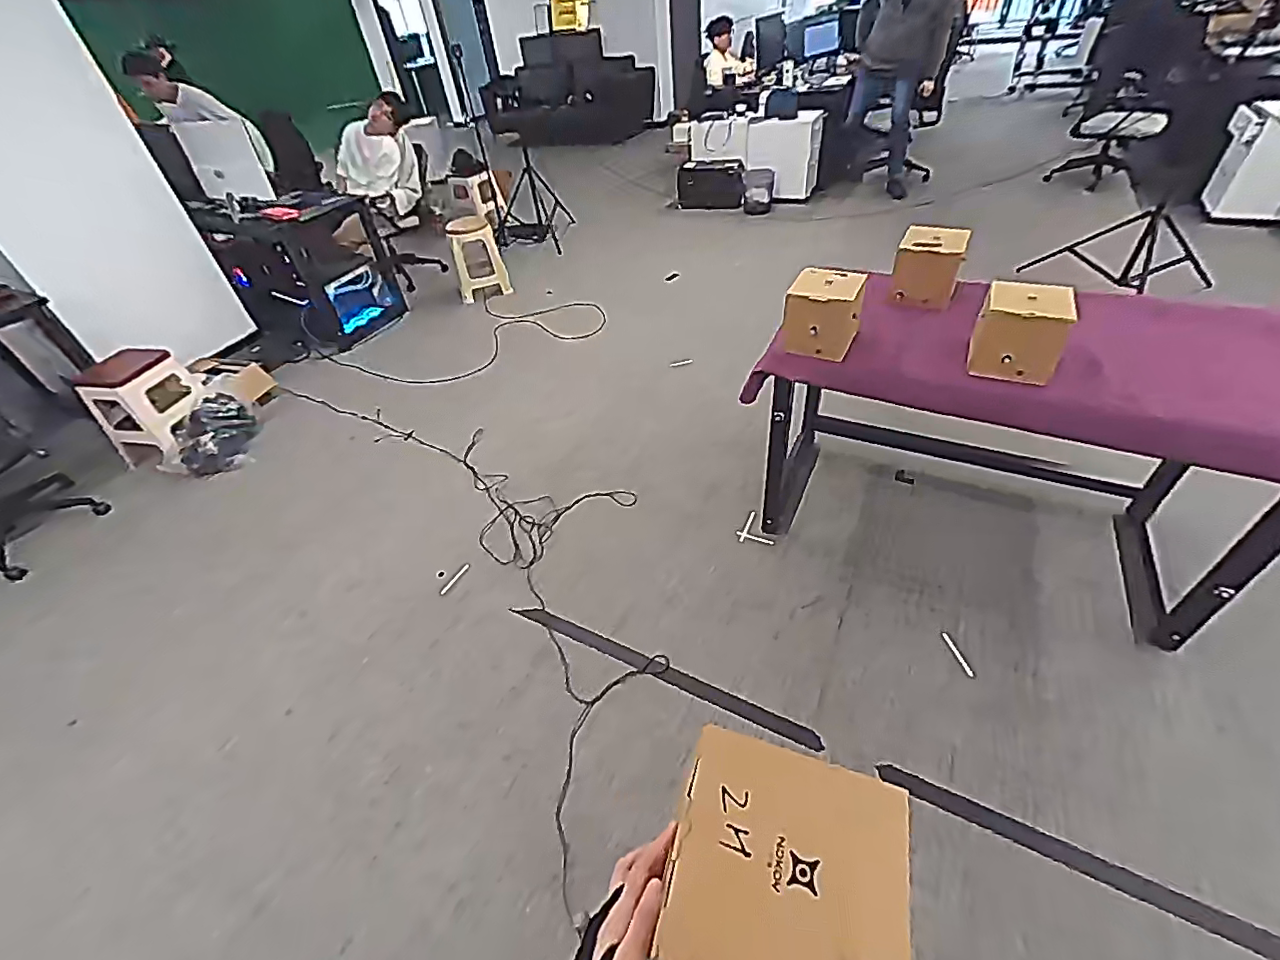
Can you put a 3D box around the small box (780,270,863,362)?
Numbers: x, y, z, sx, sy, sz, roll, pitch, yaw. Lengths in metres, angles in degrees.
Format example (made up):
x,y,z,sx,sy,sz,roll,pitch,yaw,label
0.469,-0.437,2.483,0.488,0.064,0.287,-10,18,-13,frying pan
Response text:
x,y,z,sx,sy,sz,roll,pitch,yaw,label
0.478,-0.435,1.438,0.168,0.176,0.179,17,48,24,small box

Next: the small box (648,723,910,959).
x,y,z,sx,sy,sz,roll,pitch,yaw,label
0.114,0.346,0.477,0.179,0.176,0.168,15,50,10,small box

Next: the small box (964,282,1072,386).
x,y,z,sx,sy,sz,roll,pitch,yaw,label
0.892,-0.349,1.289,0.168,0.176,0.179,15,46,23,small box

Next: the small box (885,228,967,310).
x,y,z,sx,sy,sz,roll,pitch,yaw,label
0.832,-0.617,1.584,0.168,0.176,0.179,18,49,25,small box
